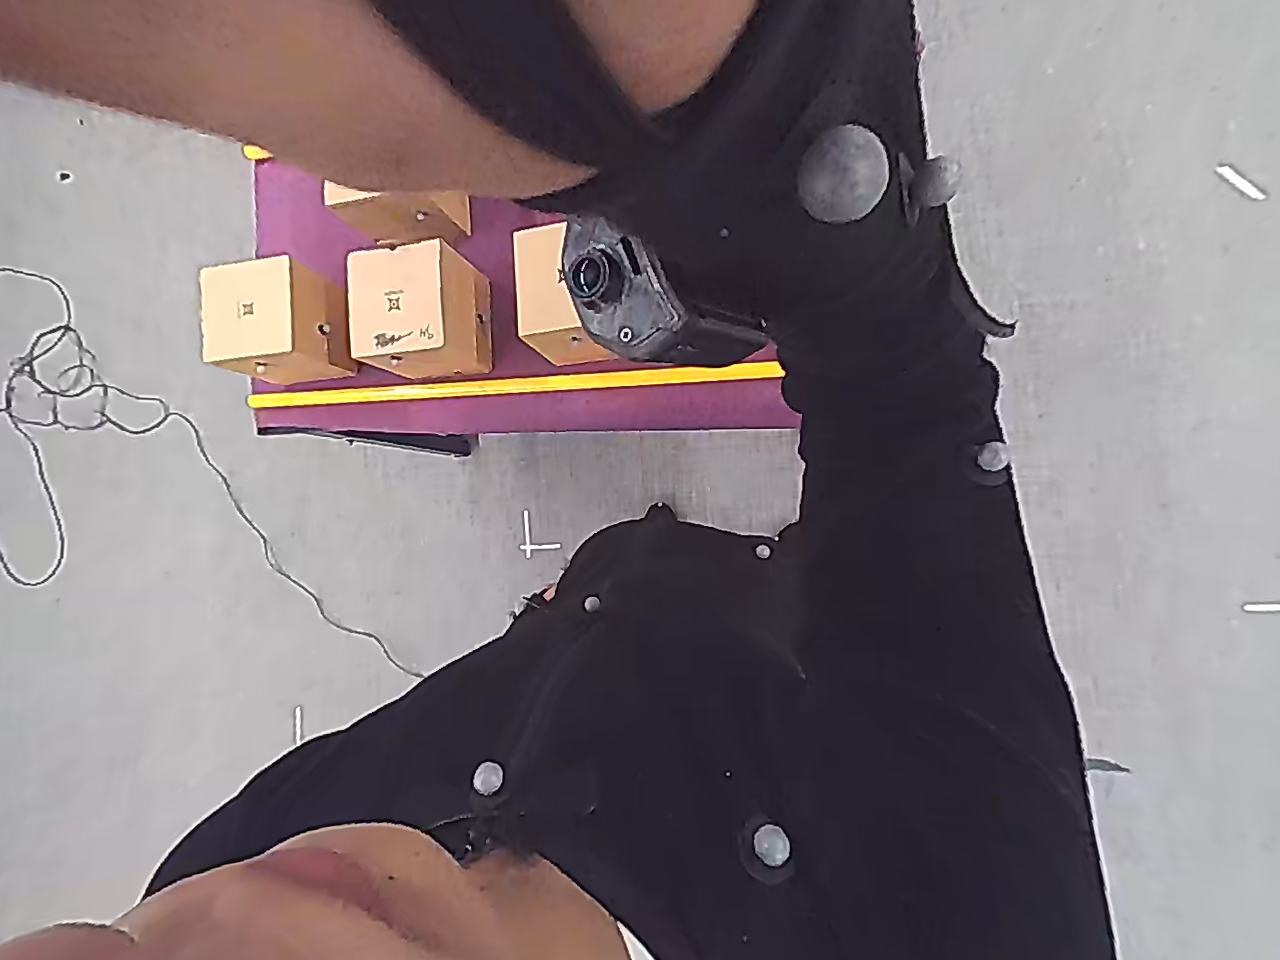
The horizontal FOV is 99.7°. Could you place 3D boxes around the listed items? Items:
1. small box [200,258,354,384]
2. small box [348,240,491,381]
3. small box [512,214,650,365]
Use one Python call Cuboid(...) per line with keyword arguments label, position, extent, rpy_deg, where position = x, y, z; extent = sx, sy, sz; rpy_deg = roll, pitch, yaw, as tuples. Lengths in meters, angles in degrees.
Cuboid(label="small box", position=(-0.645, -0.278, 0.981), extent=(0.179, 0.176, 0.168), rpy_deg=(-5, 86, 10))
Cuboid(label="small box", position=(-0.369, -0.279, 0.926), extent=(0.168, 0.176, 0.179), rpy_deg=(-3, 86, 13))
Cuboid(label="small box", position=(-0.088, -0.293, 0.870), extent=(0.179, 0.176, 0.168), rpy_deg=(-4, 85, 11))
